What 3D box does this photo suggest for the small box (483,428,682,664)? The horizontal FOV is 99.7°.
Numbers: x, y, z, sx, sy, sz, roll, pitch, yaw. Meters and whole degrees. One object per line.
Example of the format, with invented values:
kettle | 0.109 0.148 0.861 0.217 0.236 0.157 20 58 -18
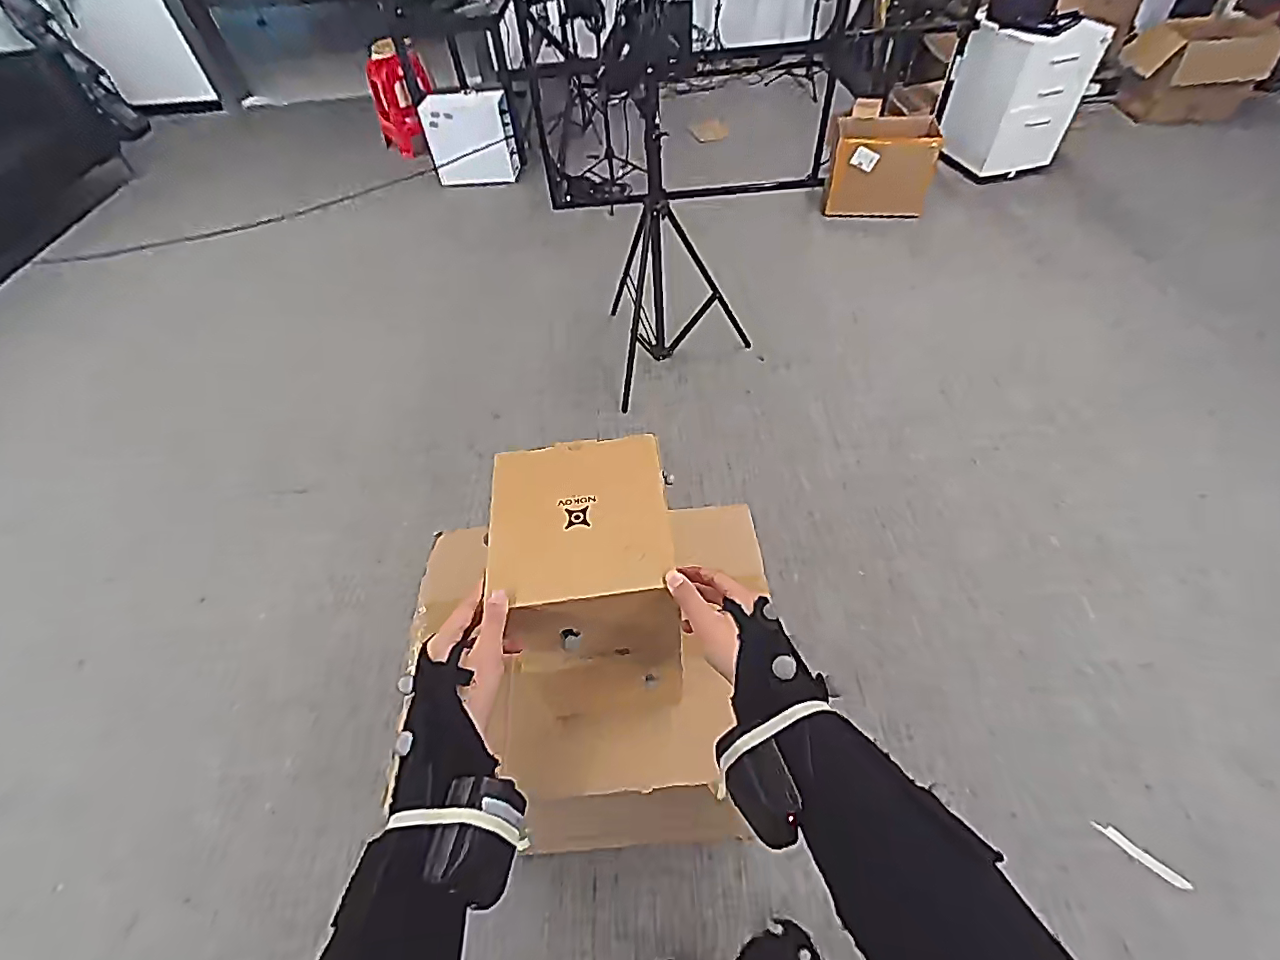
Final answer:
small box | -0.050 0.075 0.553 0.168 0.176 0.179 -8 52 0
